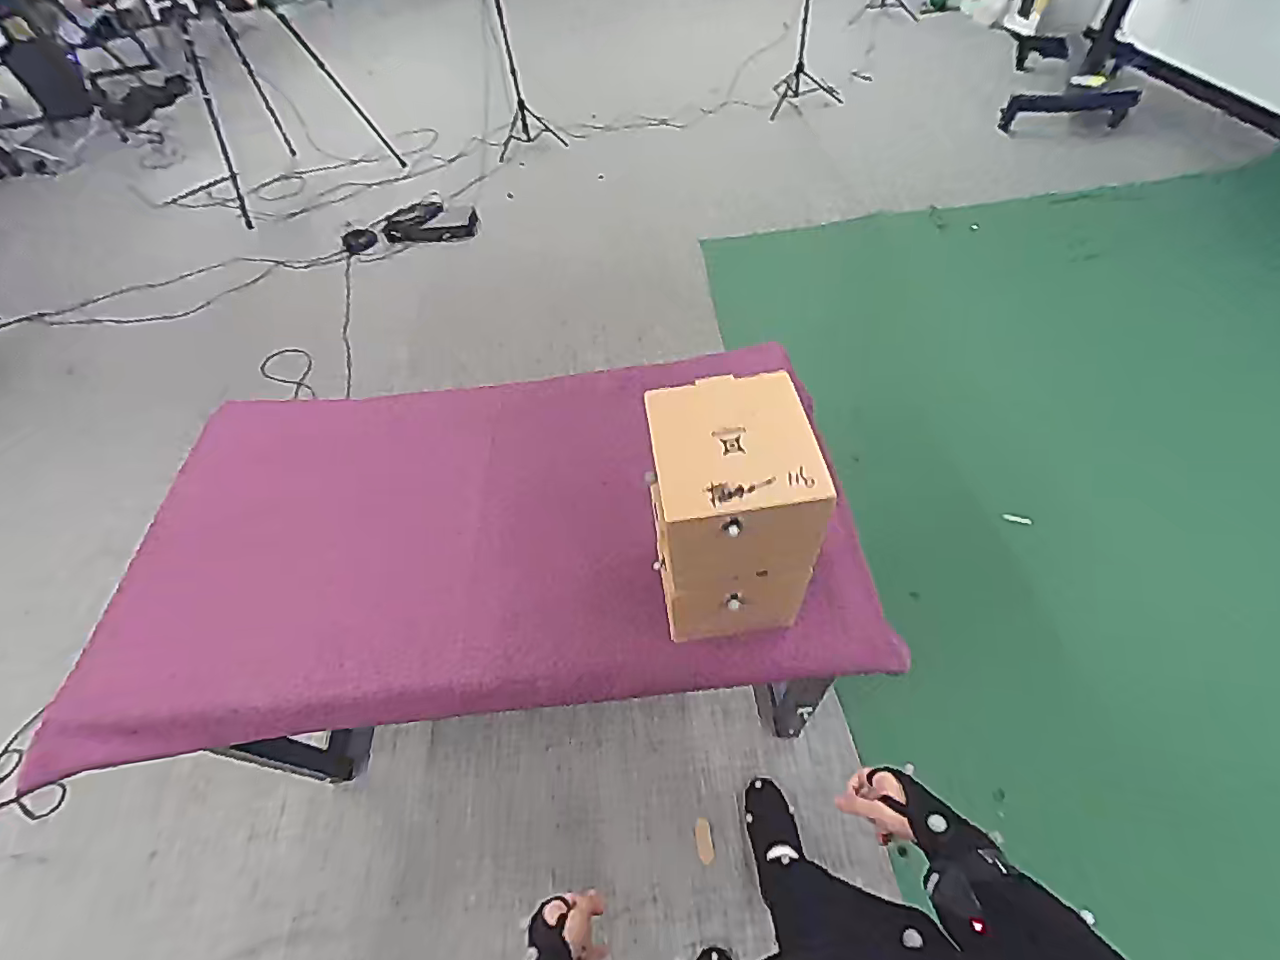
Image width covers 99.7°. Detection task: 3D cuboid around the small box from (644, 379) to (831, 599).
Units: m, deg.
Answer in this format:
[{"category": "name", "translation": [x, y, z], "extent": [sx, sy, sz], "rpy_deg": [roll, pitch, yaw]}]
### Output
[{"category": "small box", "translation": [0.102, 0.014, 0.624], "extent": [0.168, 0.176, 0.179], "rpy_deg": [-10, 53, 3]}]

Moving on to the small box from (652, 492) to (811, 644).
[{"category": "small box", "translation": [0.119, 0.113, 0.754], "extent": [0.179, 0.176, 0.168], "rpy_deg": [-10, 54, 2]}]
